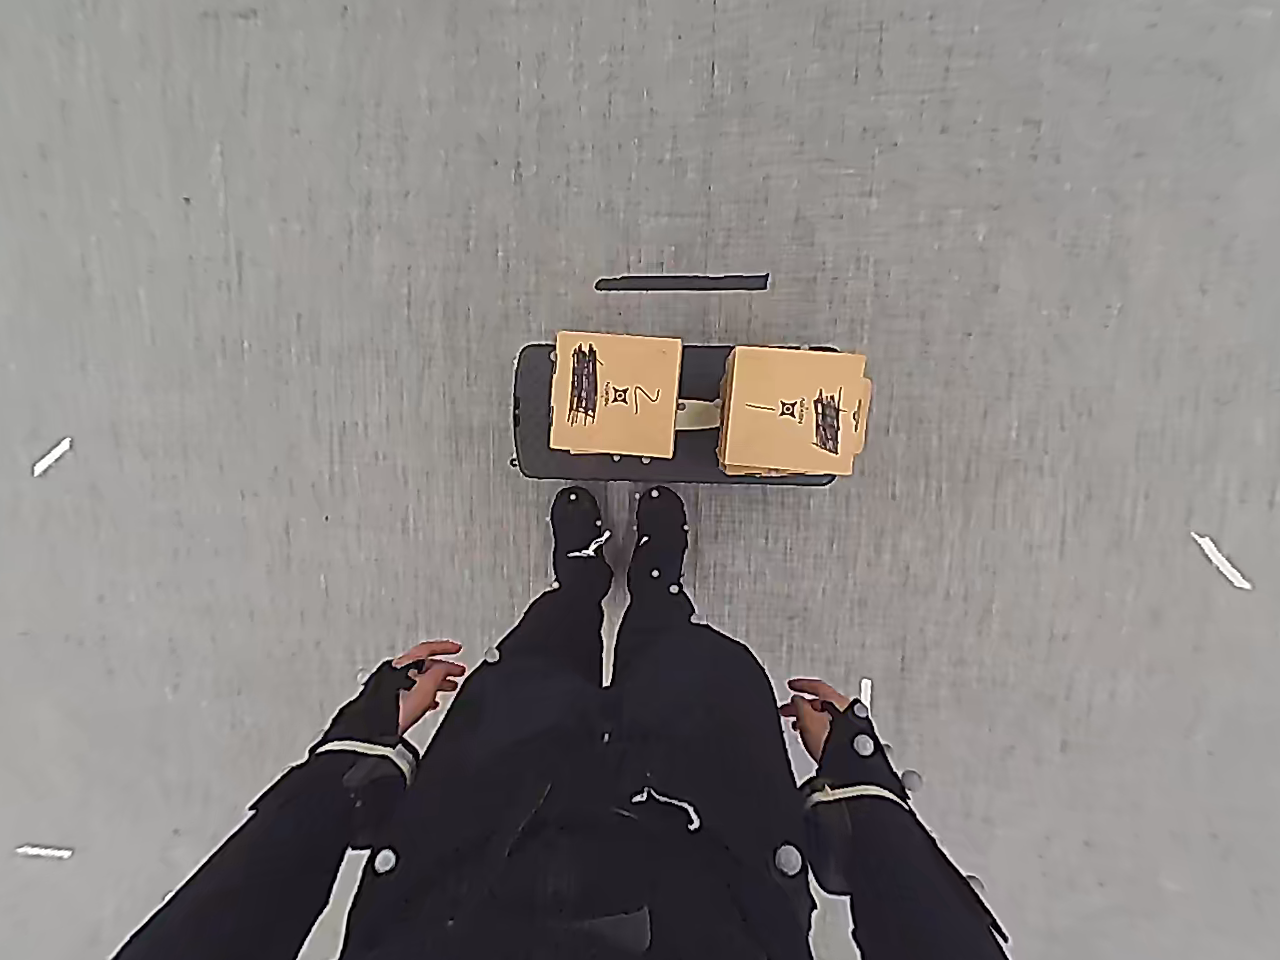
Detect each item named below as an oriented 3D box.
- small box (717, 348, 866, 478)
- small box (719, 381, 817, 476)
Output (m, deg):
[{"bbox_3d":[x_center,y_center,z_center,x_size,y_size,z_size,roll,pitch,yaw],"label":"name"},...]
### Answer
[{"bbox_3d":[0.216,-0.100,0.817,0.179,0.176,0.168,6,96,4],"label":"small box"},{"bbox_3d":[0.232,-0.100,0.982,0.168,0.176,0.179,0,96,4],"label":"small box"}]
